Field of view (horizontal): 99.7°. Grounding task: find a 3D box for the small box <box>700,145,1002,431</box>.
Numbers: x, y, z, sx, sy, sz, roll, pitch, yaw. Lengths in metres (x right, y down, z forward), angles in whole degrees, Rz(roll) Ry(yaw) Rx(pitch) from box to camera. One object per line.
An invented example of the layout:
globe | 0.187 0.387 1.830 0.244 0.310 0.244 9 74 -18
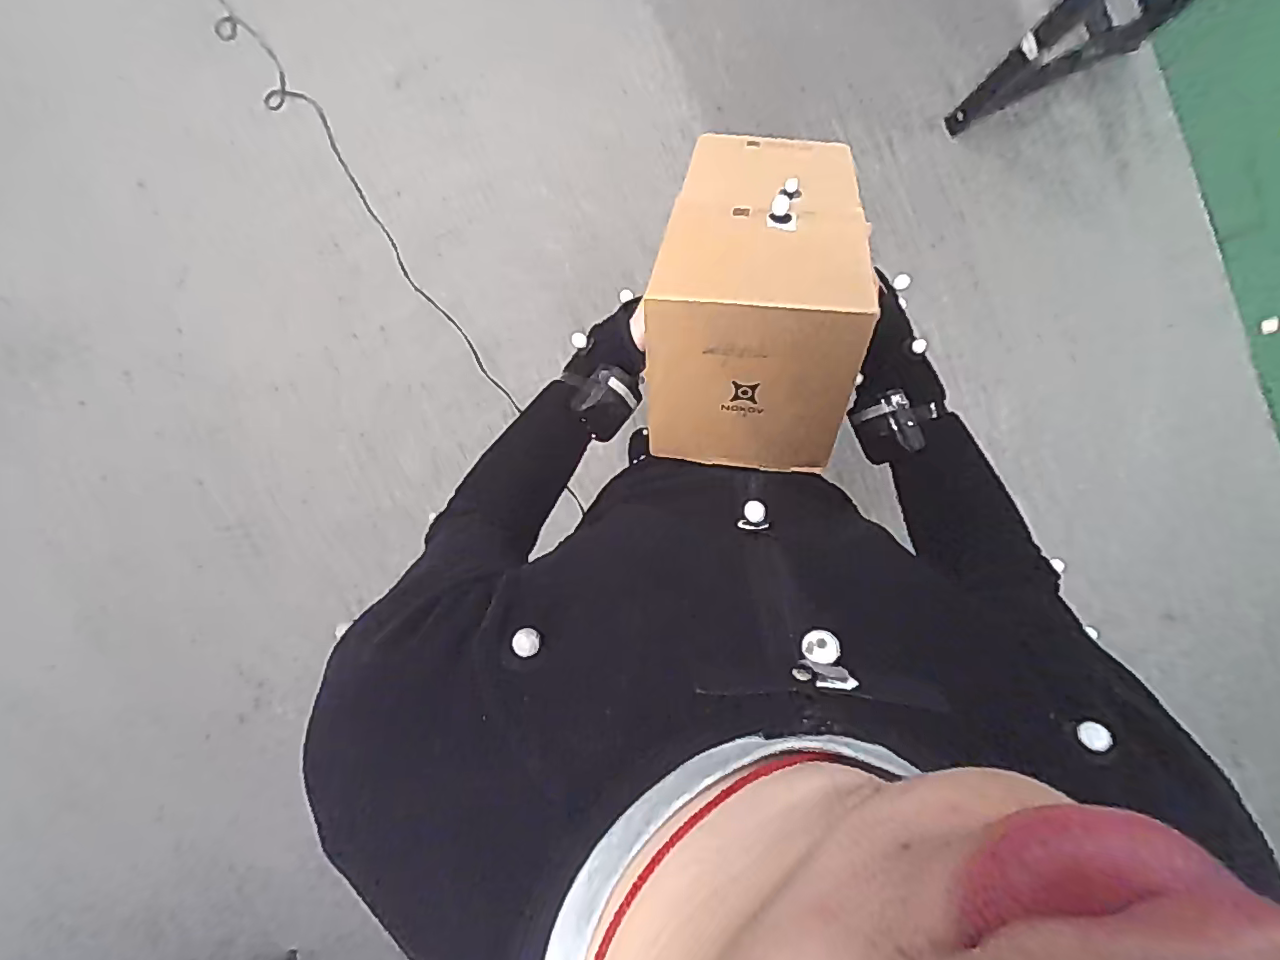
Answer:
small box | 0.185 -0.179 0.511 0.179 0.168 0.176 18 124 -20
